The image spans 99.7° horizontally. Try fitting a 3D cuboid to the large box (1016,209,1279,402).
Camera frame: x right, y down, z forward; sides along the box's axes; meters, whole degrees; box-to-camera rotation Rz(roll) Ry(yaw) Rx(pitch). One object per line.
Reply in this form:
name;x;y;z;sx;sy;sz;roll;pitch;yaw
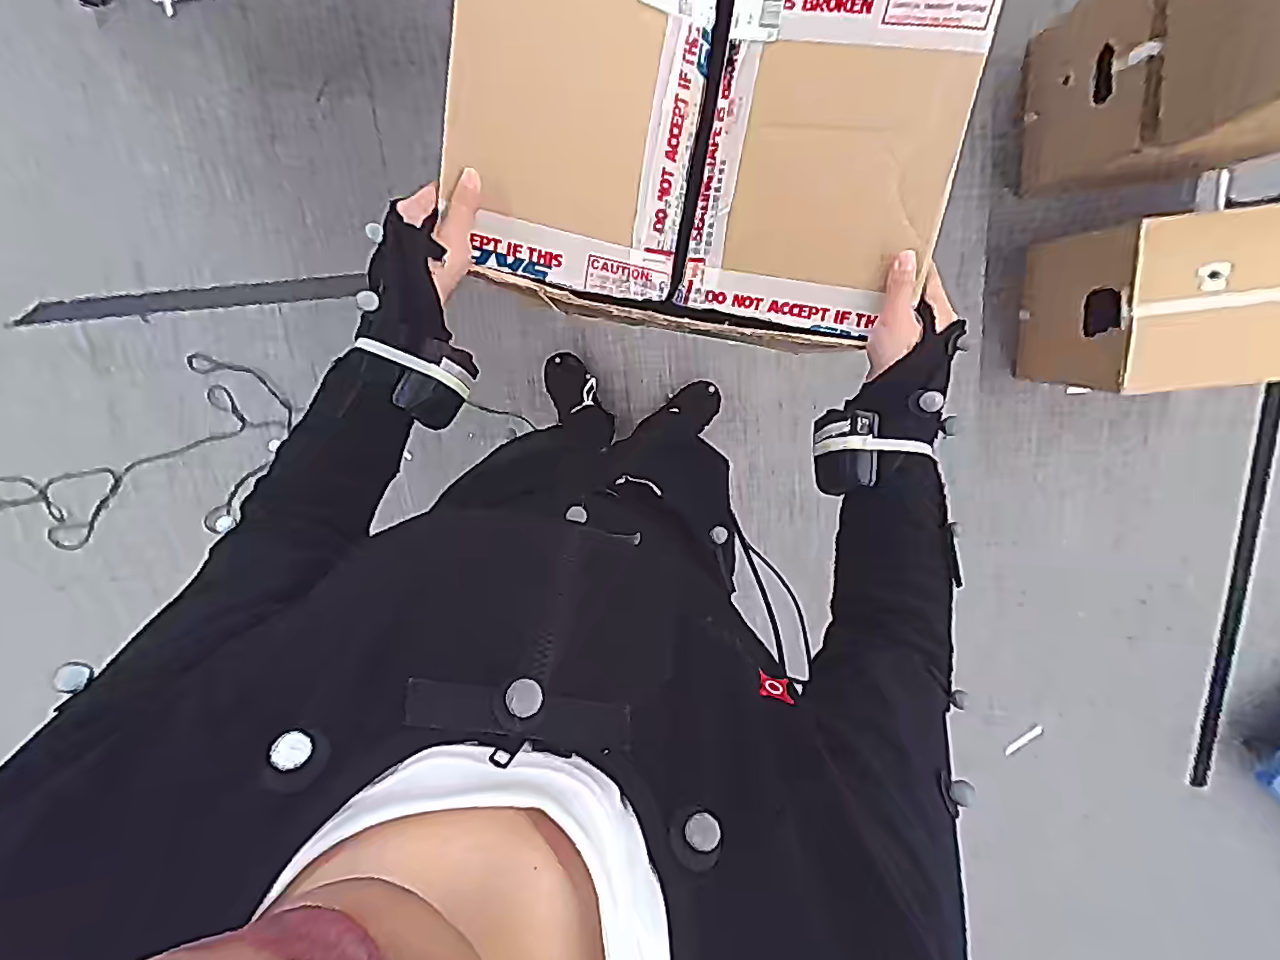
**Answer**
large box;1.090;-0.356;1.124;0.408;0.320;0.320;-6;104;3
